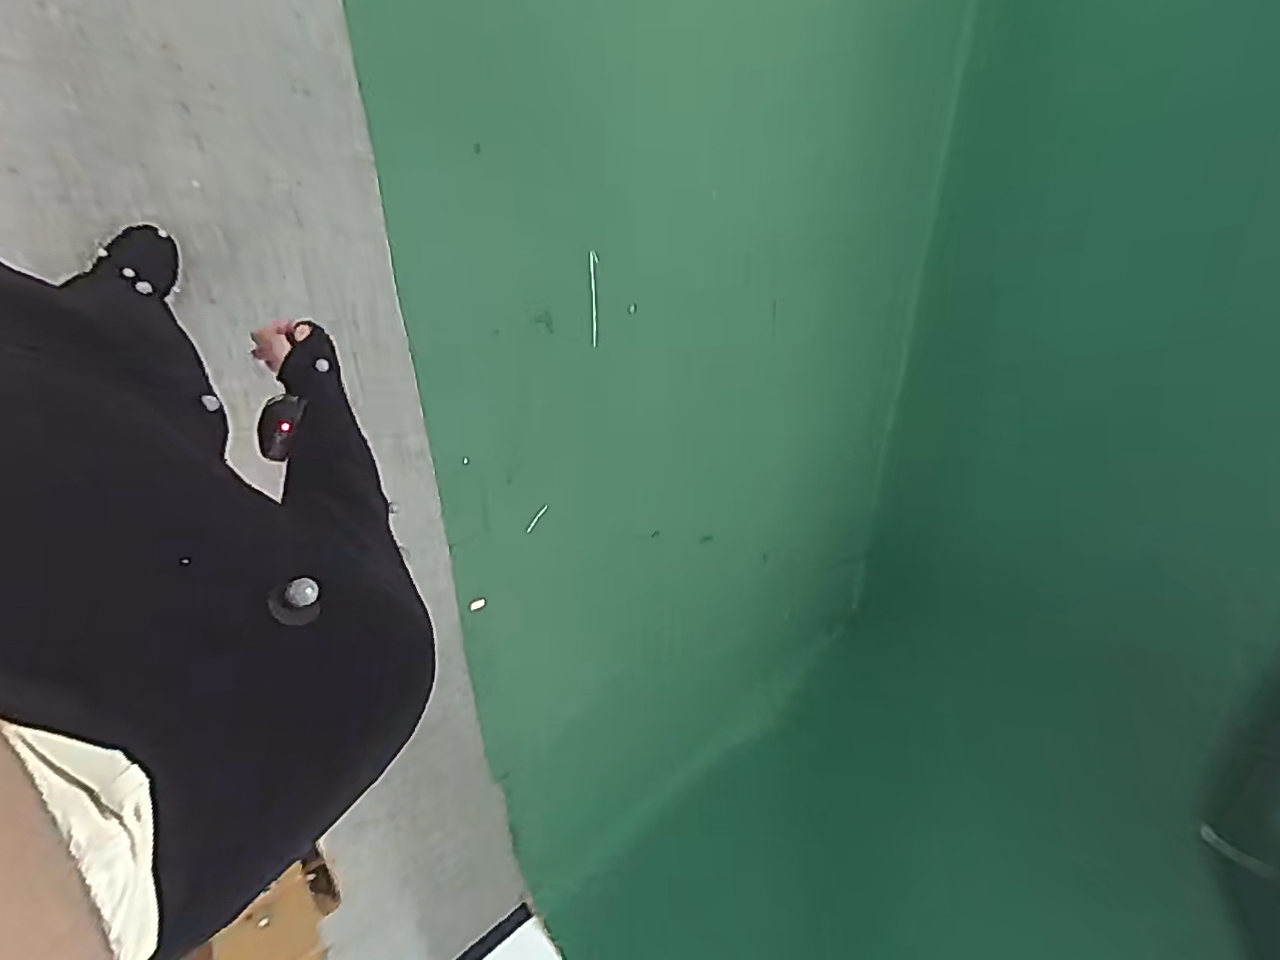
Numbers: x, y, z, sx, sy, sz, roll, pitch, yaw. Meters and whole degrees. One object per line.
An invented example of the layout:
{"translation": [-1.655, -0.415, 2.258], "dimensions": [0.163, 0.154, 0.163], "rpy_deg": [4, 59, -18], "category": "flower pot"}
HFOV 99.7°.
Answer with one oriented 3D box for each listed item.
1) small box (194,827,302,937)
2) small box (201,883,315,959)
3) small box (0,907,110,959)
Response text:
{"translation": [-0.884, 0.944, 1.227], "dimensions": [0.168, 0.176, 0.179], "rpy_deg": [-18, 120, -38], "category": "small box"}
{"translation": [-0.777, 0.996, 1.114], "dimensions": [0.168, 0.176, 0.179], "rpy_deg": [-16, 118, -39], "category": "small box"}
{"translation": [-1.121, 0.948, 0.998], "dimensions": [0.168, 0.176, 0.179], "rpy_deg": [-20, 122, -36], "category": "small box"}
